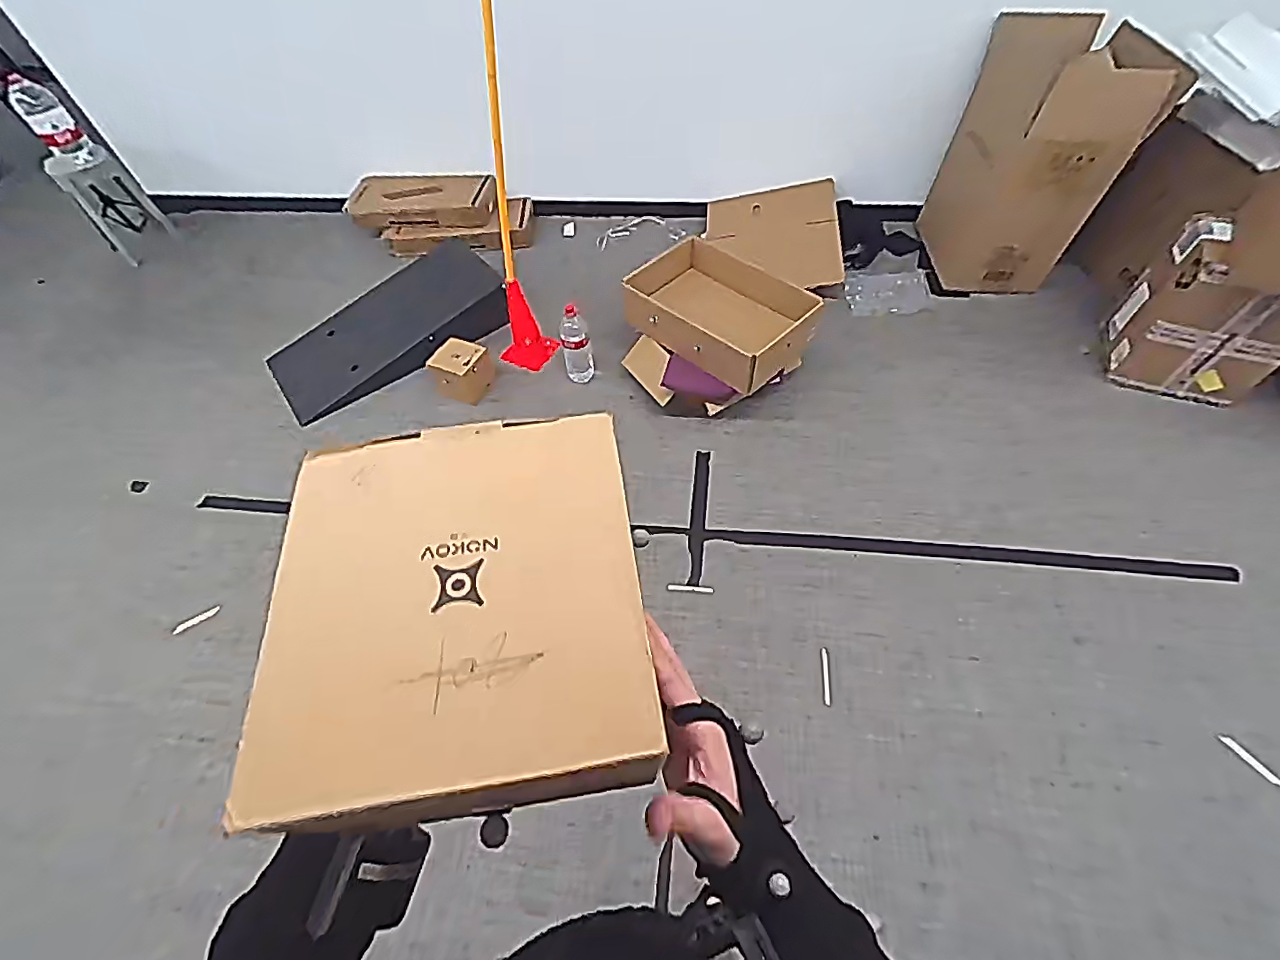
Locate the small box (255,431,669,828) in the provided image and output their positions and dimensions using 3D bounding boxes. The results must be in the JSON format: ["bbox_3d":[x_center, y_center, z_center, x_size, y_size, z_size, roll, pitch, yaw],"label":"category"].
[{"bbox_3d":[-0.082,0.096,0.326,0.168,0.176,0.179,-8,59,-5],"label":"small box"}]
